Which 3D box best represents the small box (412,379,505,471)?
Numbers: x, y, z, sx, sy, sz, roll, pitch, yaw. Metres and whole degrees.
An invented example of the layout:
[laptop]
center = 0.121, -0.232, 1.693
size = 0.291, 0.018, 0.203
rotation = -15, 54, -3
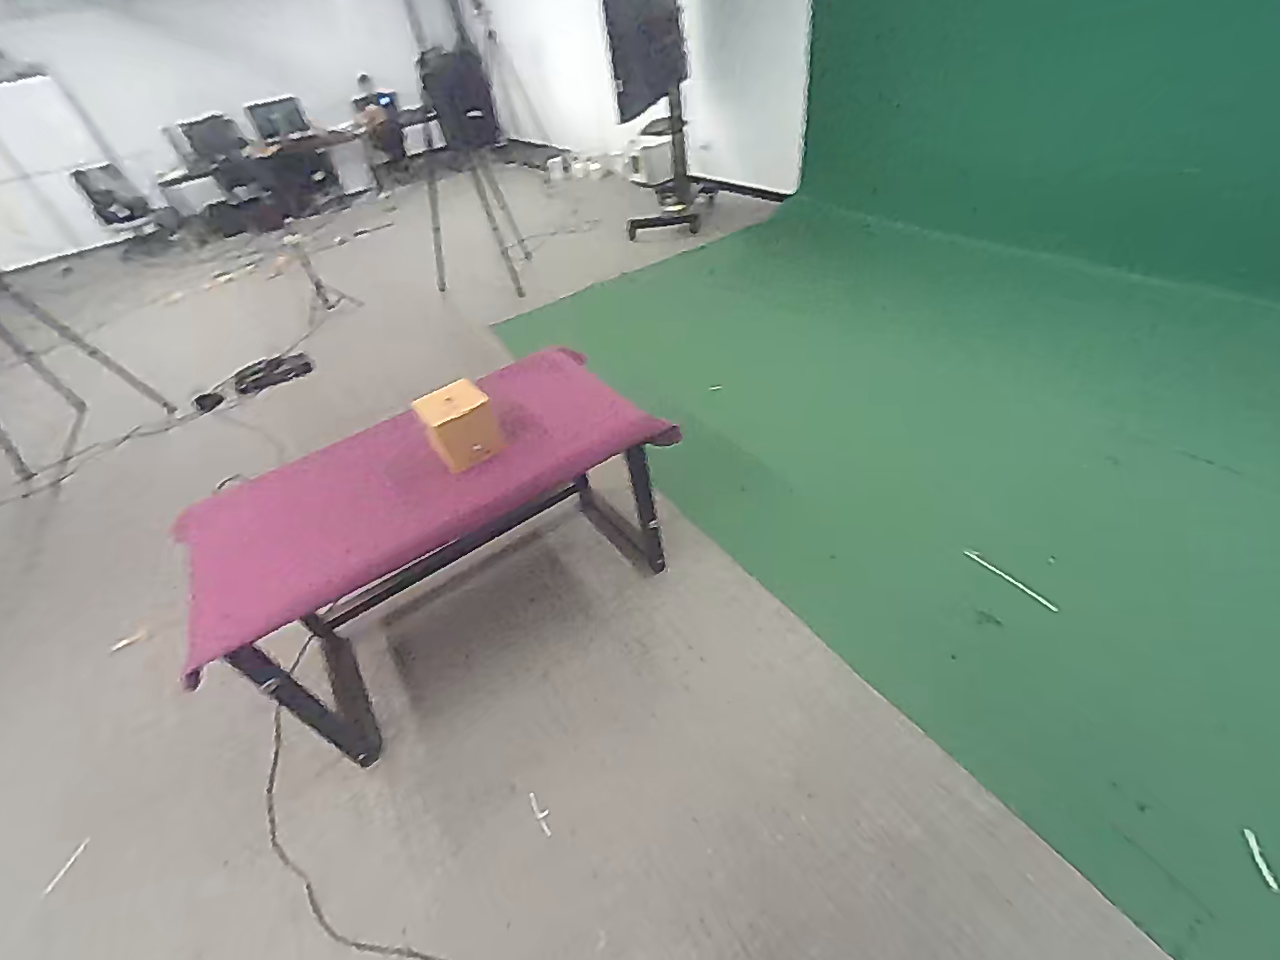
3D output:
[small box]
center = -0.508, -0.154, 1.521
size = 0.168, 0.176, 0.179
rotation = -32, 46, -22
